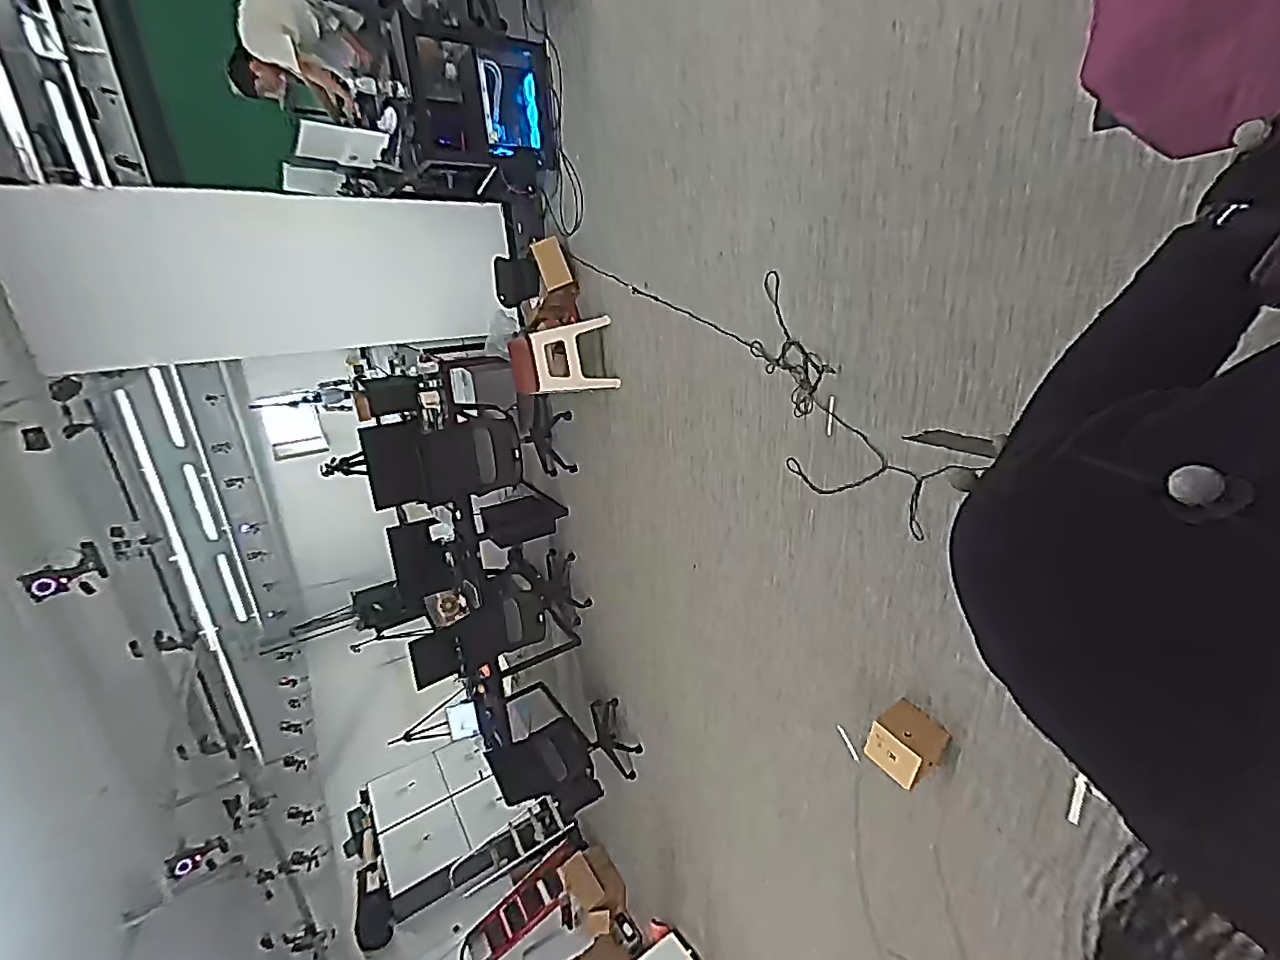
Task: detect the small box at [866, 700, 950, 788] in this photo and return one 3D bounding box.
[{"bbox_3d":[0.899,0.876,1.813,0.179,0.176,0.168,37,133,47],"label":"small box"}]
